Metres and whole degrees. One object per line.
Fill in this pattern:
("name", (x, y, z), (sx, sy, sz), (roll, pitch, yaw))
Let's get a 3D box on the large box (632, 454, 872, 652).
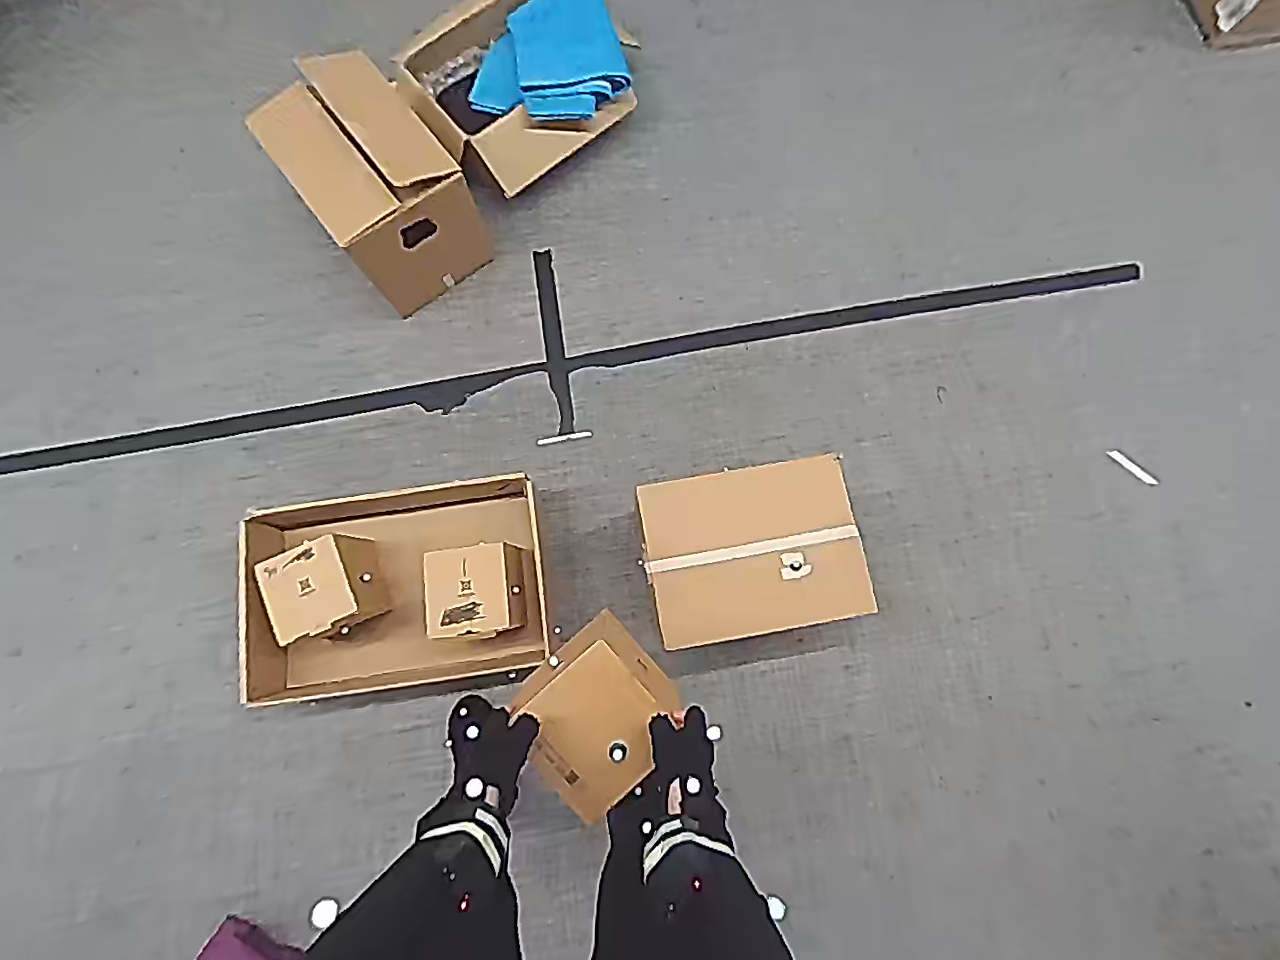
("large box", (0.207, 0.164, 1.169), (0.408, 0.320, 0.320), (-10, 79, -4))
